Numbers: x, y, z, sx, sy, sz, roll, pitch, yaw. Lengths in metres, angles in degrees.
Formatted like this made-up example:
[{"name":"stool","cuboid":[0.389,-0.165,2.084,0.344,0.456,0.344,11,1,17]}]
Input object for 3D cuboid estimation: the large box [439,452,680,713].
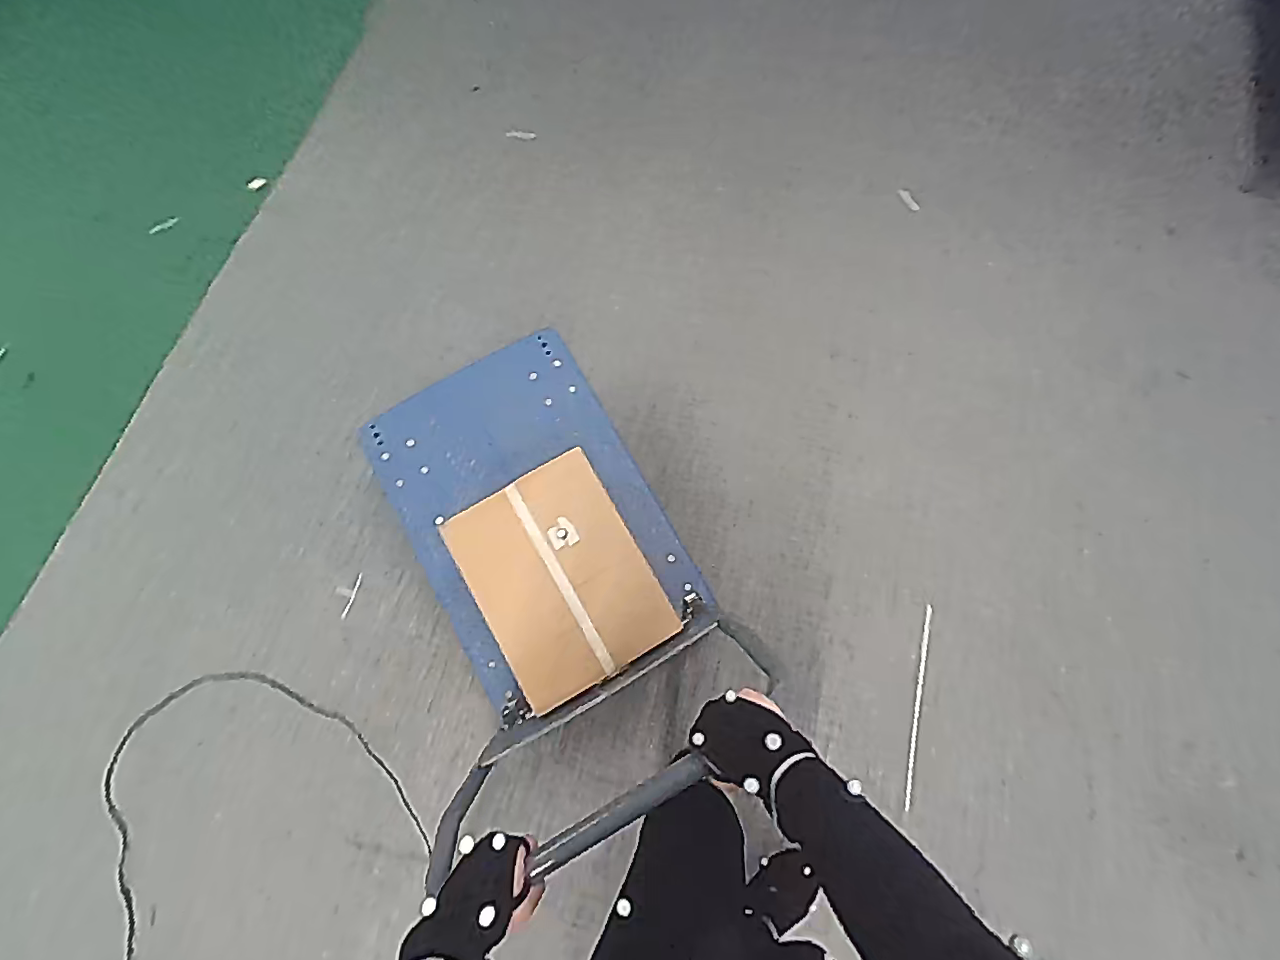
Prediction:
[{"name":"large box","cuboid":[-0.153,0.212,1.167,0.320,0.320,0.408,-31,80,-6]}]
